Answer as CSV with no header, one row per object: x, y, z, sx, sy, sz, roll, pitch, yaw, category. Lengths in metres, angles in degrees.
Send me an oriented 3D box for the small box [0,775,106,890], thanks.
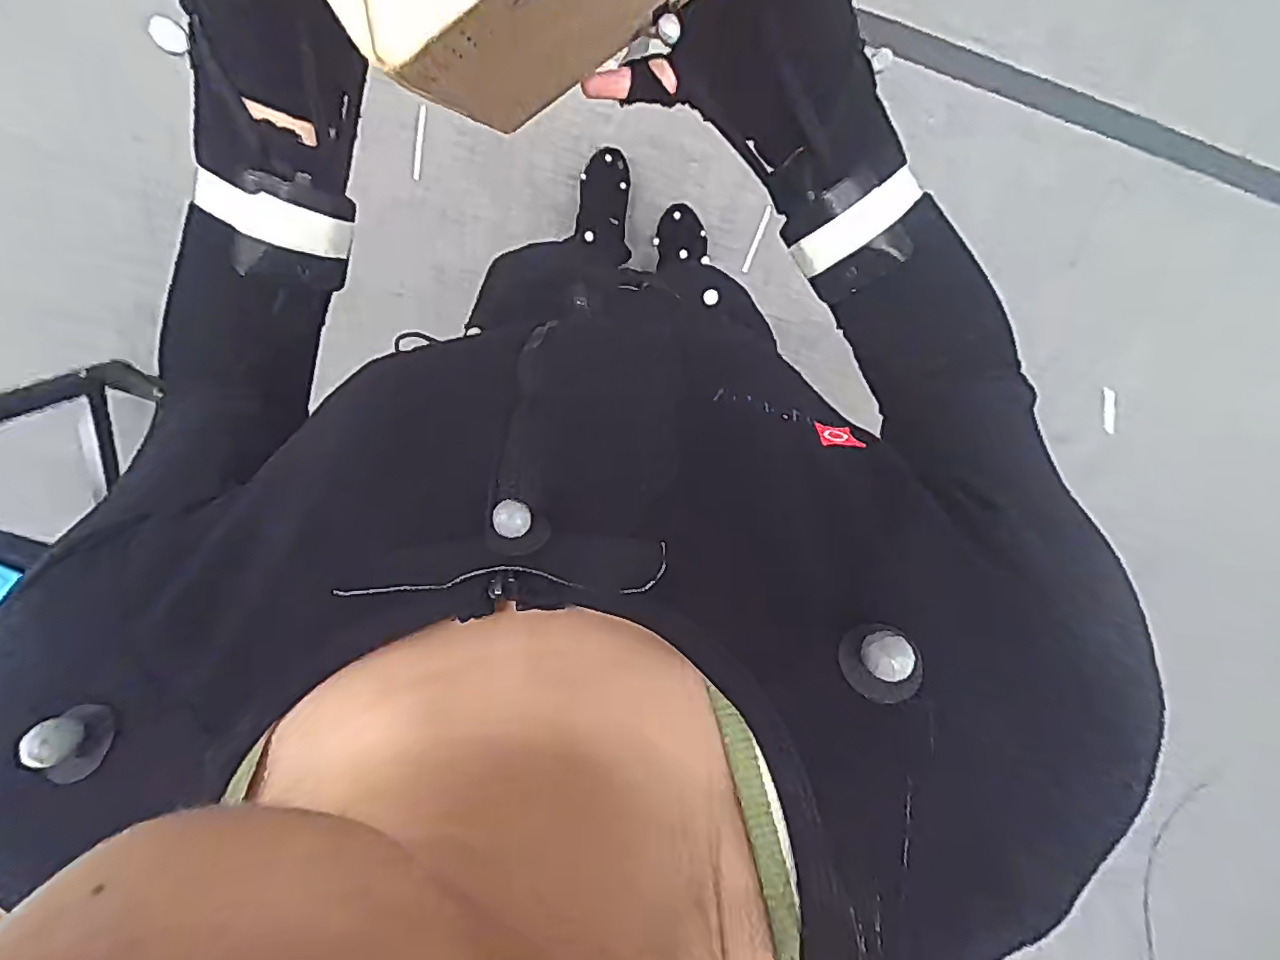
-1.465,0.848,1.308,0.179,0.176,0.168,19,120,-6,small box

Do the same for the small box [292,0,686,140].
-0.060,-0.257,0.185,0.168,0.176,0.179,-25,114,14,small box

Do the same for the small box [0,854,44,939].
-1.468,0.929,1.161,0.168,0.176,0.179,18,118,-4,small box
